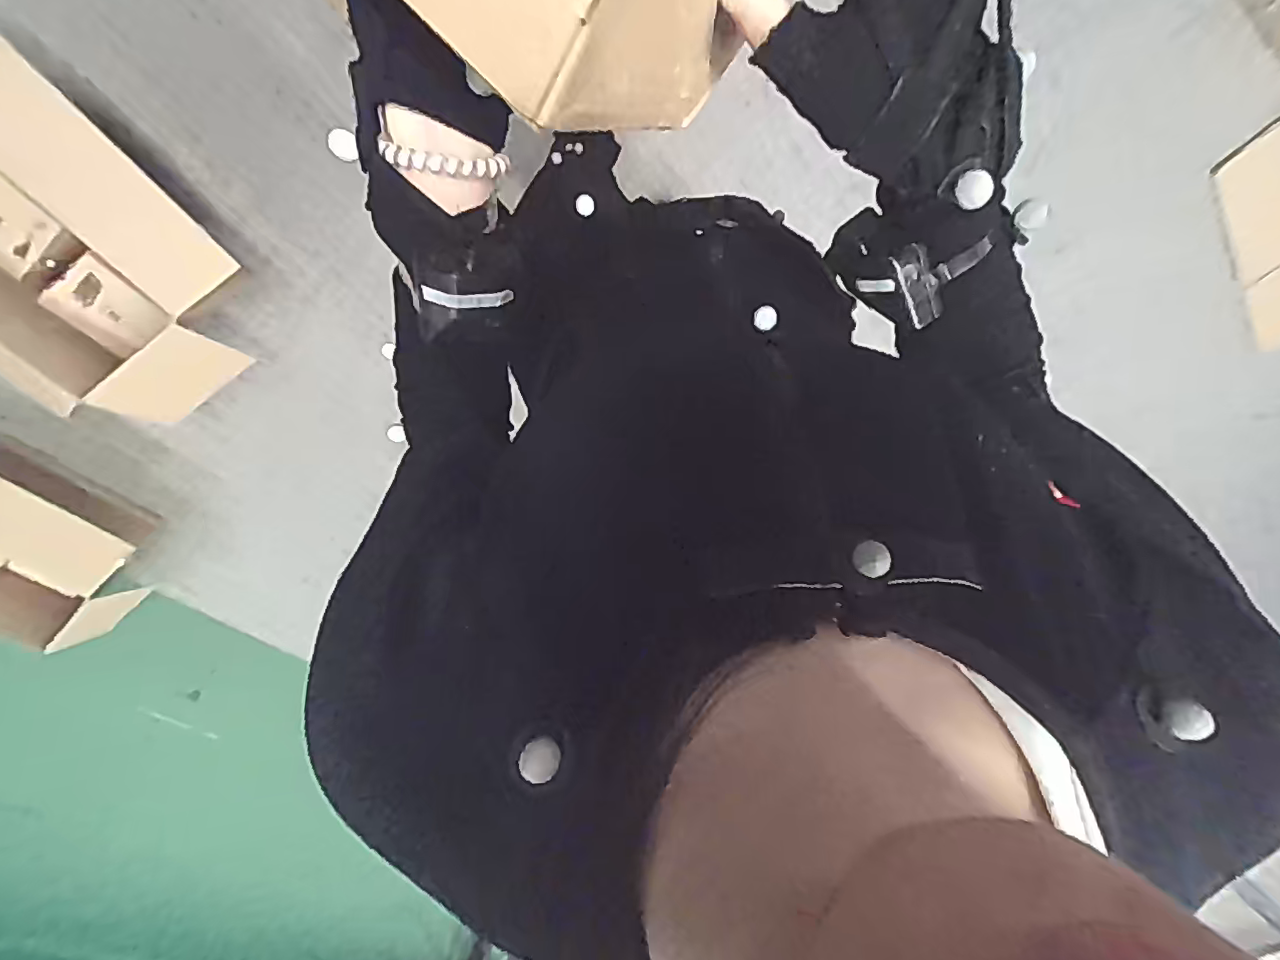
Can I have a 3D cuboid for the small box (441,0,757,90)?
[{"bbox_3d":[-0.019,-0.260,0.172,0.179,0.176,0.168,41,127,-8],"label":"small box"}]
